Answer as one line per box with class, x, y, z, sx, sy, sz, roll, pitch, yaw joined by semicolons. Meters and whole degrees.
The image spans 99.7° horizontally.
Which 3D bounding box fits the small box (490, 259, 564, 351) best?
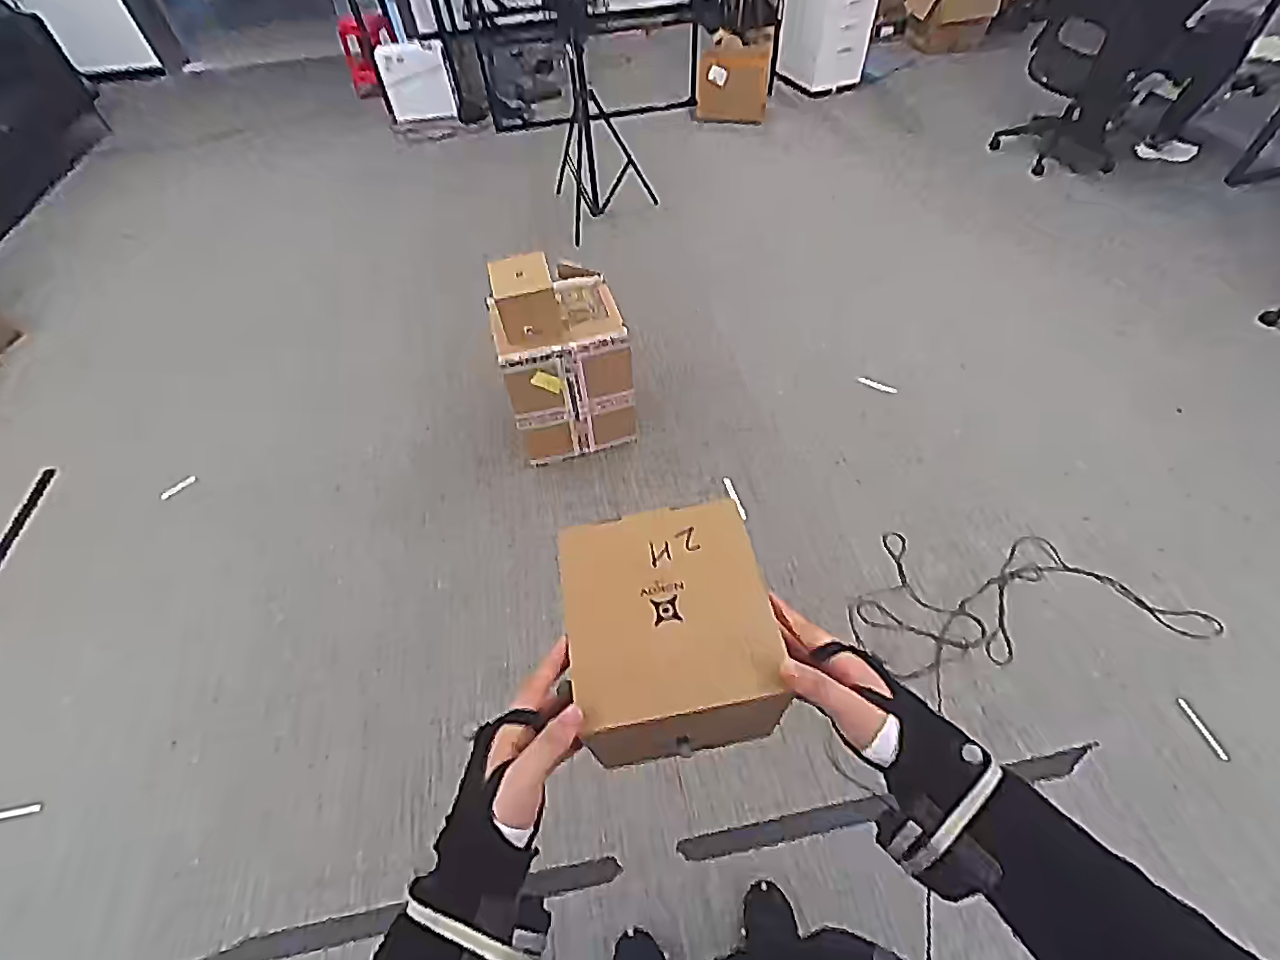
small box;-0.328;-0.508;1.577;0.168;0.176;0.179;-15;57;-6
